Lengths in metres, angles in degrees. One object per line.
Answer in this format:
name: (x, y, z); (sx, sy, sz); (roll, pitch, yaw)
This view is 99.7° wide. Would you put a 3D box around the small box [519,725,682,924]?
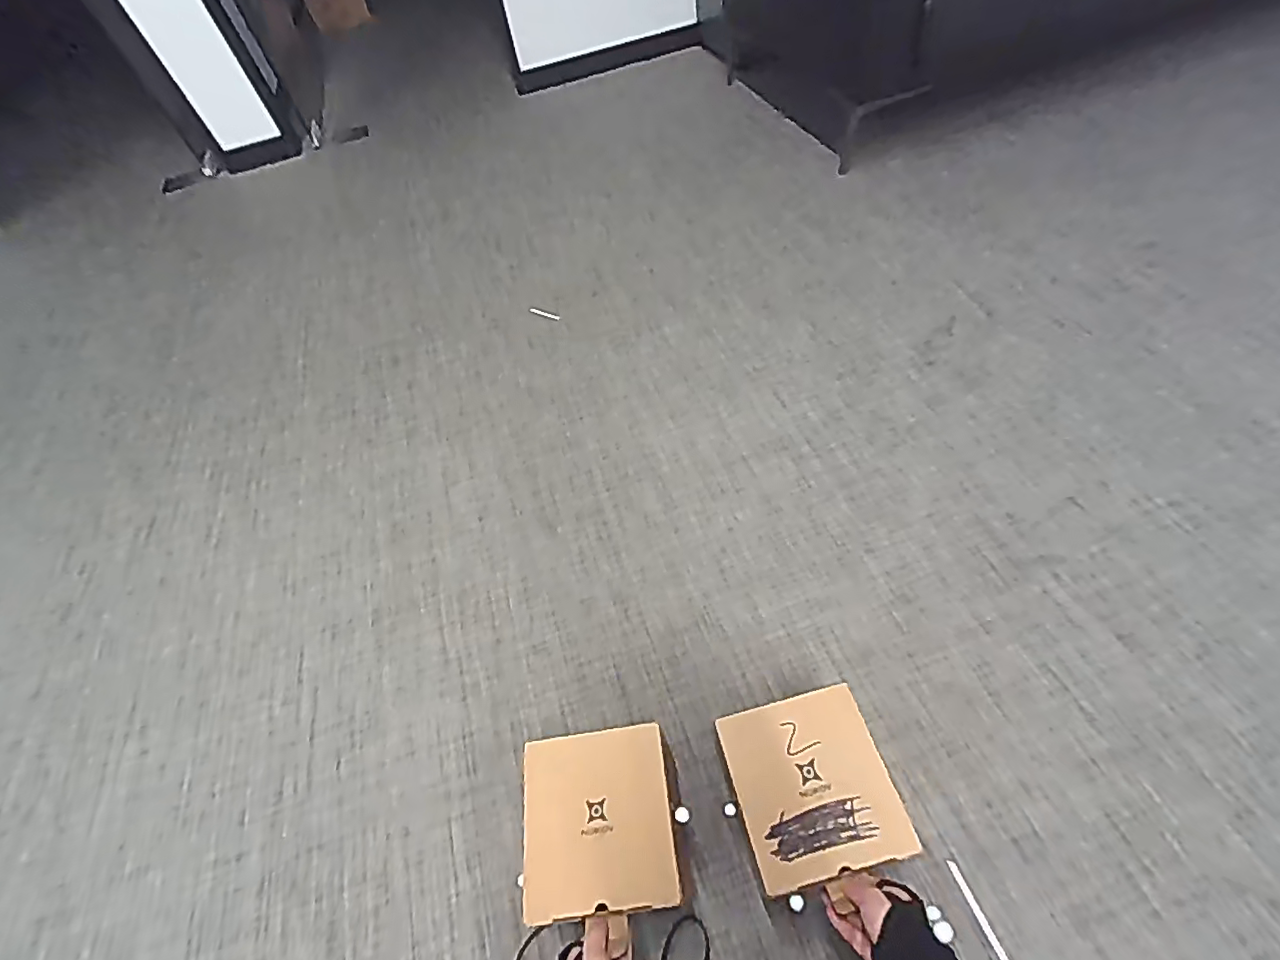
small box: (-0.043, 0.421, 0.666); (0.168, 0.176, 0.179); (-9, 55, 2)
